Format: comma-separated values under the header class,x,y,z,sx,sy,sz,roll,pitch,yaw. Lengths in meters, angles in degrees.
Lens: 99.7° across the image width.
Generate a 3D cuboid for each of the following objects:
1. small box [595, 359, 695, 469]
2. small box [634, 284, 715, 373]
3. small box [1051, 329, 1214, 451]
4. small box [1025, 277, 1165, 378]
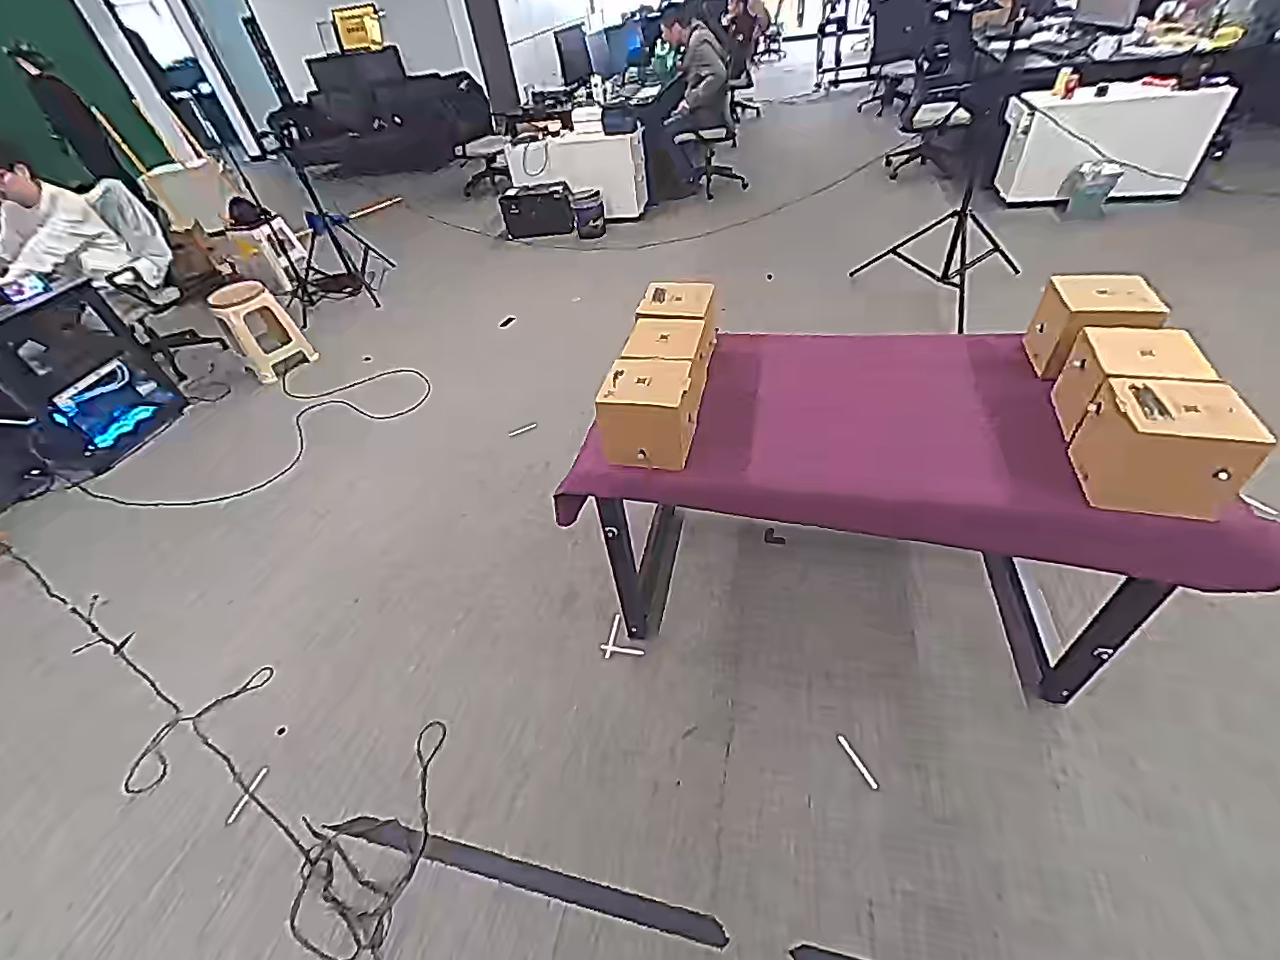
class,x,y,z,sx,sy,sz,roll,pitch,yaw
small box,0.019,-0.140,1.164,0.179,0.176,0.168,6,44,14
small box,0.097,-0.396,1.416,0.179,0.176,0.168,7,48,15
small box,0.943,-0.176,1.057,0.168,0.176,0.179,8,45,18
small box,0.993,-0.336,1.205,0.179,0.176,0.168,6,46,14
